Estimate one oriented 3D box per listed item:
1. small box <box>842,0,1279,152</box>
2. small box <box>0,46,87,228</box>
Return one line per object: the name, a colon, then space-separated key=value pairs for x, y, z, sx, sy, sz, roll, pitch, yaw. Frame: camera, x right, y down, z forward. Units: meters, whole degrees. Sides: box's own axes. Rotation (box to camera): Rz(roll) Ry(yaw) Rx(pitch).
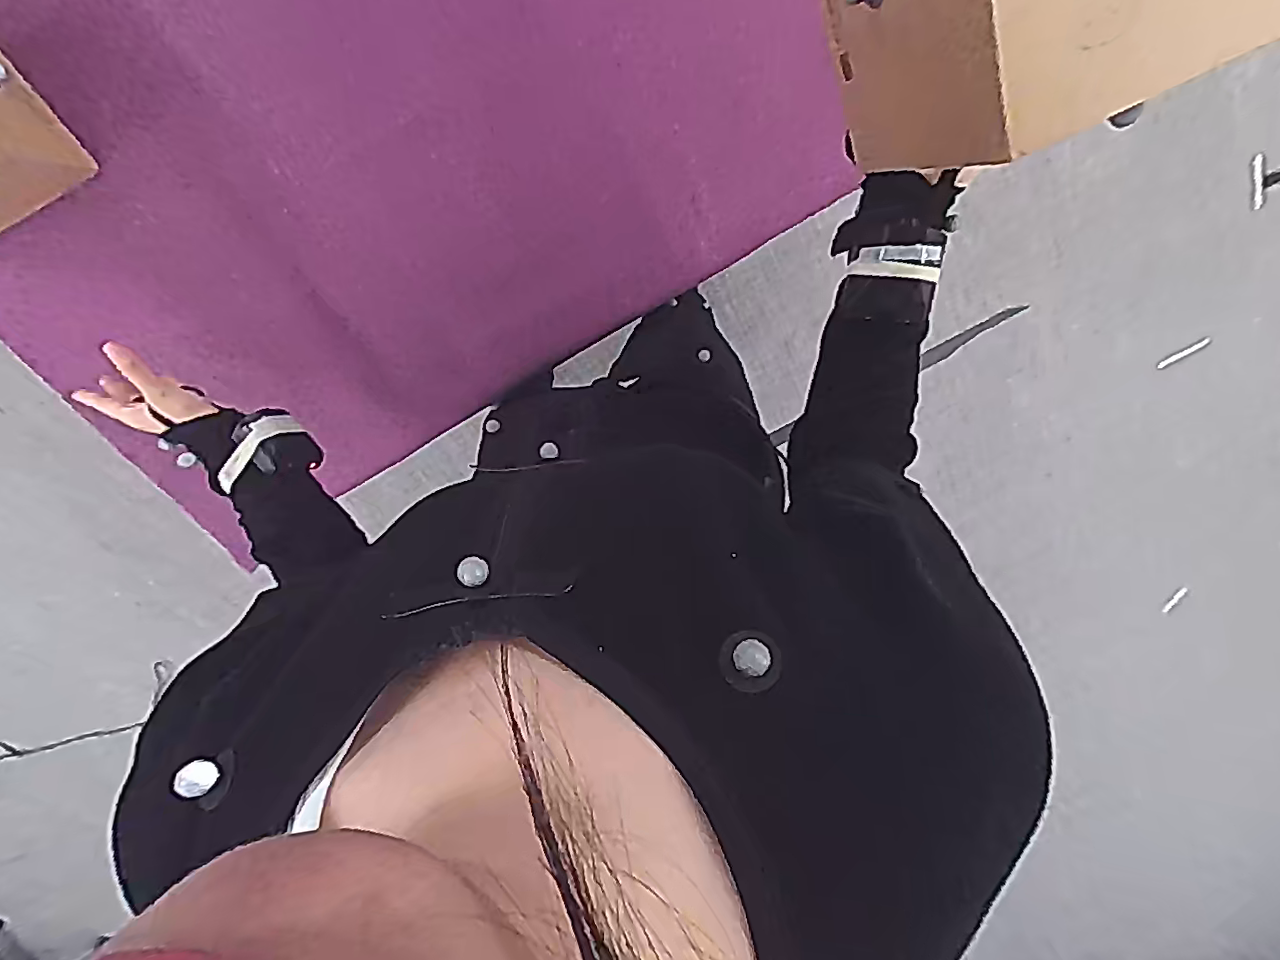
small box: x=0.196 y=-0.271 z=0.242 sx=0.179 sy=0.176 sz=0.168 roll=-23 pitch=117 yaw=10
small box: x=-0.643 y=-0.304 z=0.445 sx=0.179 sy=0.176 sz=0.168 roll=-27 pitch=117 yaw=4
